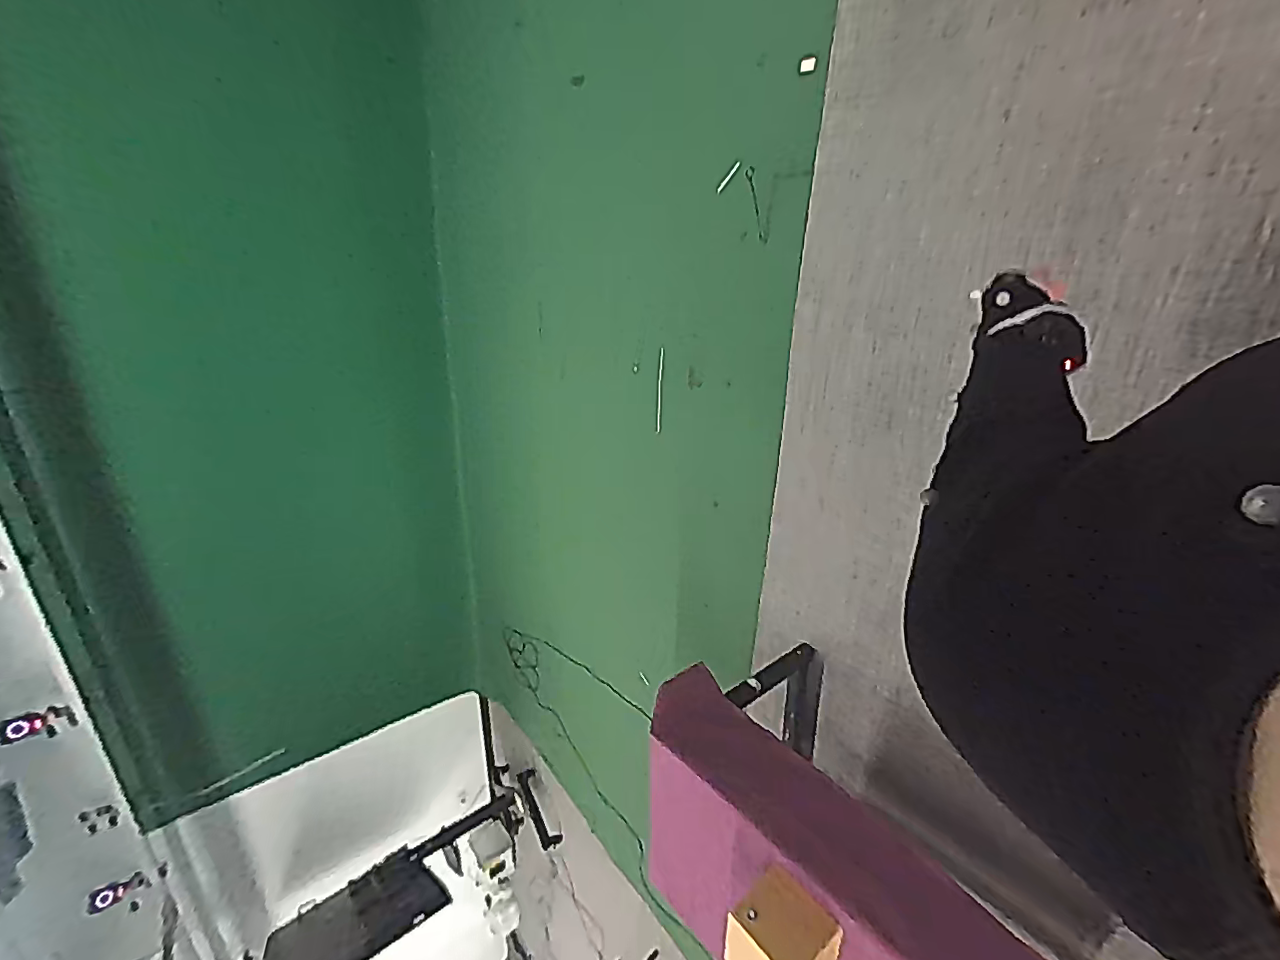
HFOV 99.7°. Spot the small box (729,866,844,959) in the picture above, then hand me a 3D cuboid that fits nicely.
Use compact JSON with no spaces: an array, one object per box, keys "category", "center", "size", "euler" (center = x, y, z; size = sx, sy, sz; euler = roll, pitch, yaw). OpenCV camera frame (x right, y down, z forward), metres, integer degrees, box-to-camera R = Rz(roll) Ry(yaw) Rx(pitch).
[{"category":"small box","center":[0.315,0.996,1.167],"size":[0.179,0.176,0.168],"euler":[24,121,48]}]
